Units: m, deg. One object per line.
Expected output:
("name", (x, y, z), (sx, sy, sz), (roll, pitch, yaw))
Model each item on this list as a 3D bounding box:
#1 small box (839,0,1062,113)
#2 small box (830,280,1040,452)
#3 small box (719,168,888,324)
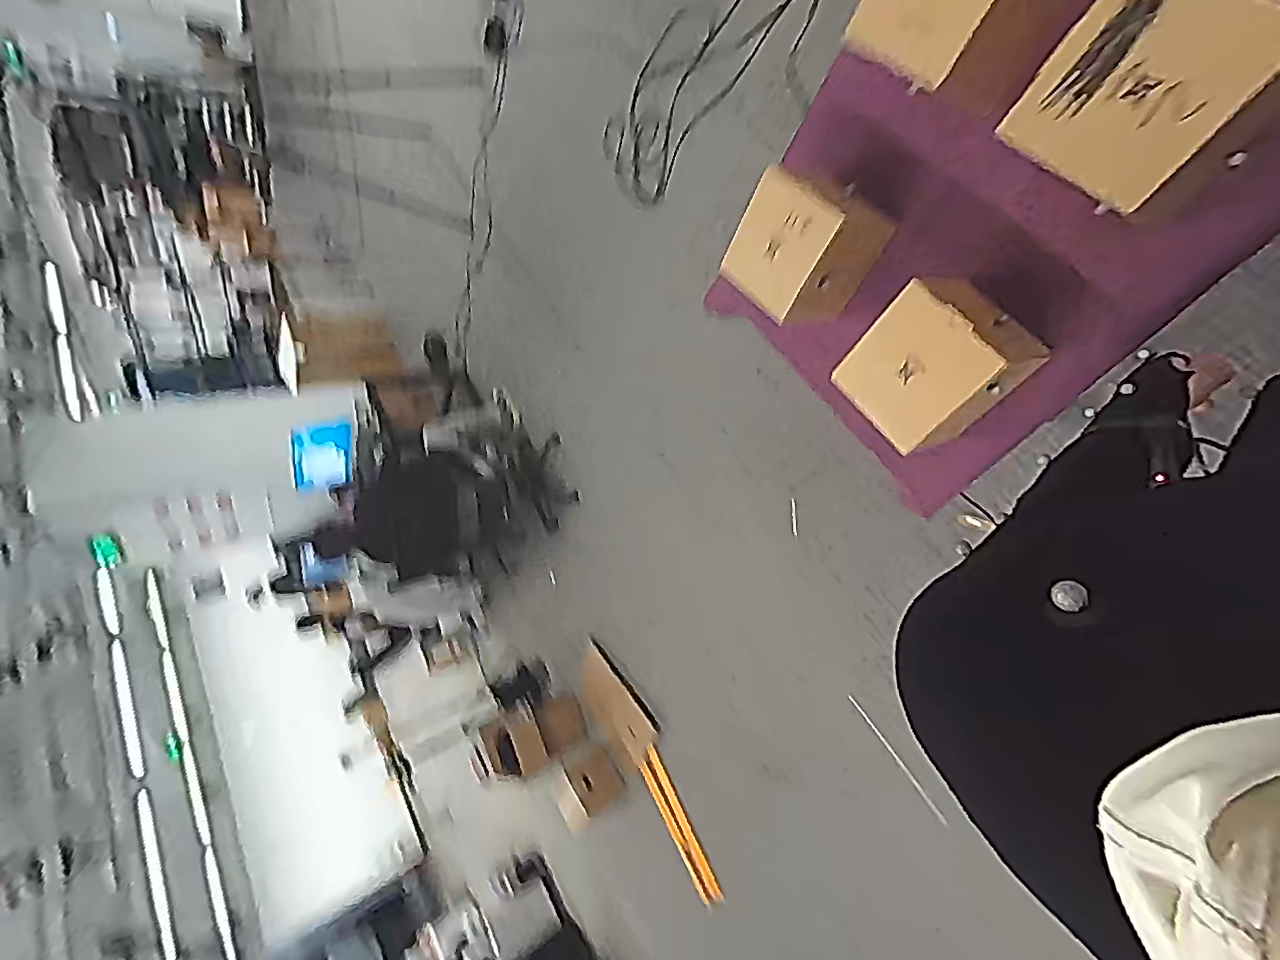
("small box", (0.396, -0.598, 0.671), (0.168, 0.176, 0.179), (54, 139, 25))
("small box", (0.425, -0.166, 0.786), (0.168, 0.176, 0.179), (56, 139, 24))
("small box", (0.271, -0.383, 0.901), (0.168, 0.176, 0.179), (52, 137, 25))
